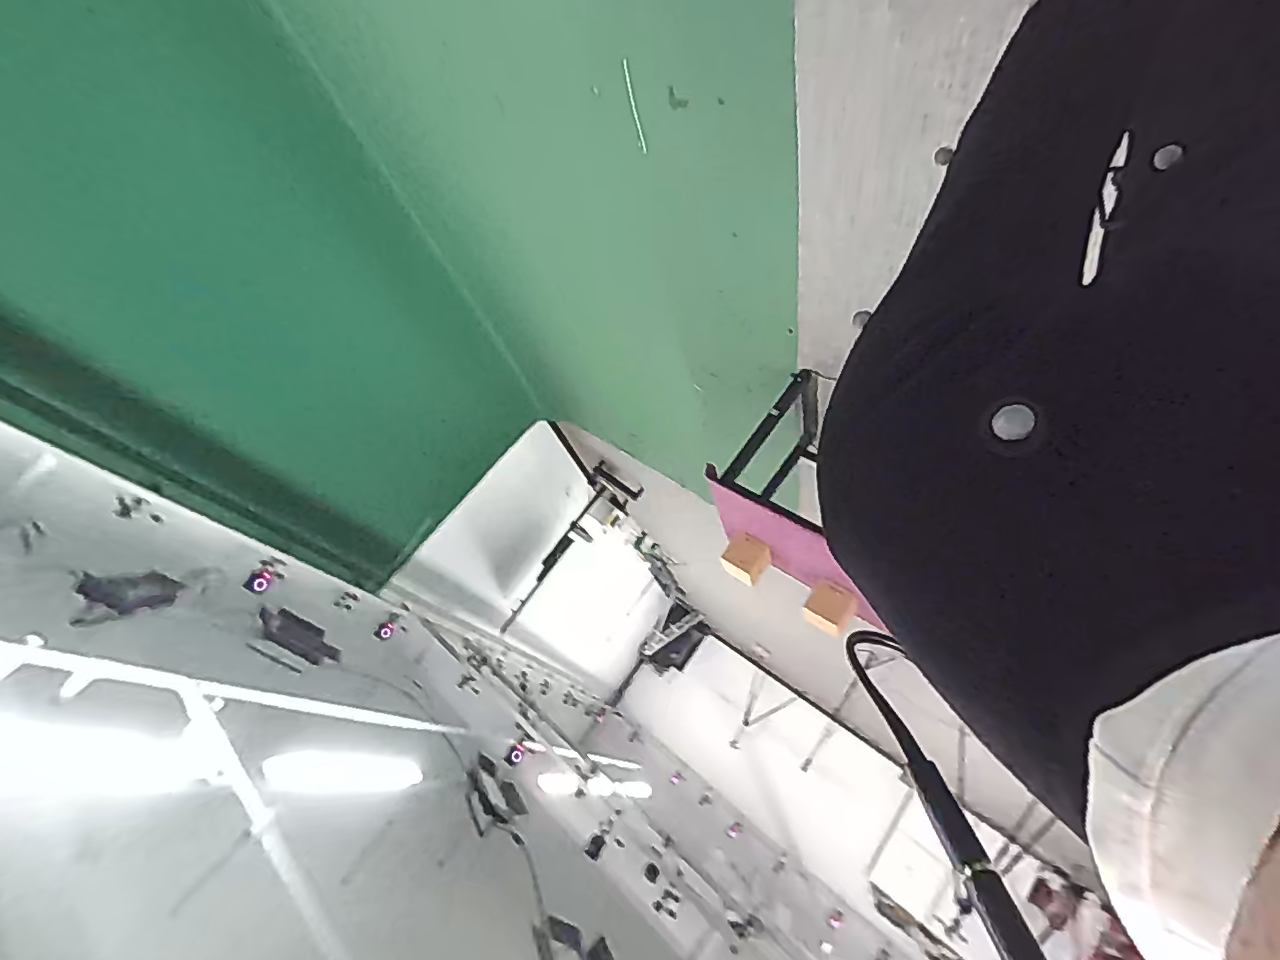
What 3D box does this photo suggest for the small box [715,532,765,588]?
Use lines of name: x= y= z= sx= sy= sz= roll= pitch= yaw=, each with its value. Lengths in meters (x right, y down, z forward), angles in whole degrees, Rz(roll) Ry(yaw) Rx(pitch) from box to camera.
small box: x=0.481 y=0.381 z=2.574 sx=0.168 sy=0.176 sz=0.179 roll=29 pitch=162 yaw=31

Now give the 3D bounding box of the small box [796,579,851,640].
small box: x=0.801 y=0.562 z=2.353 sx=0.168 sy=0.176 sz=0.179 roll=28 pitch=160 yaw=32
